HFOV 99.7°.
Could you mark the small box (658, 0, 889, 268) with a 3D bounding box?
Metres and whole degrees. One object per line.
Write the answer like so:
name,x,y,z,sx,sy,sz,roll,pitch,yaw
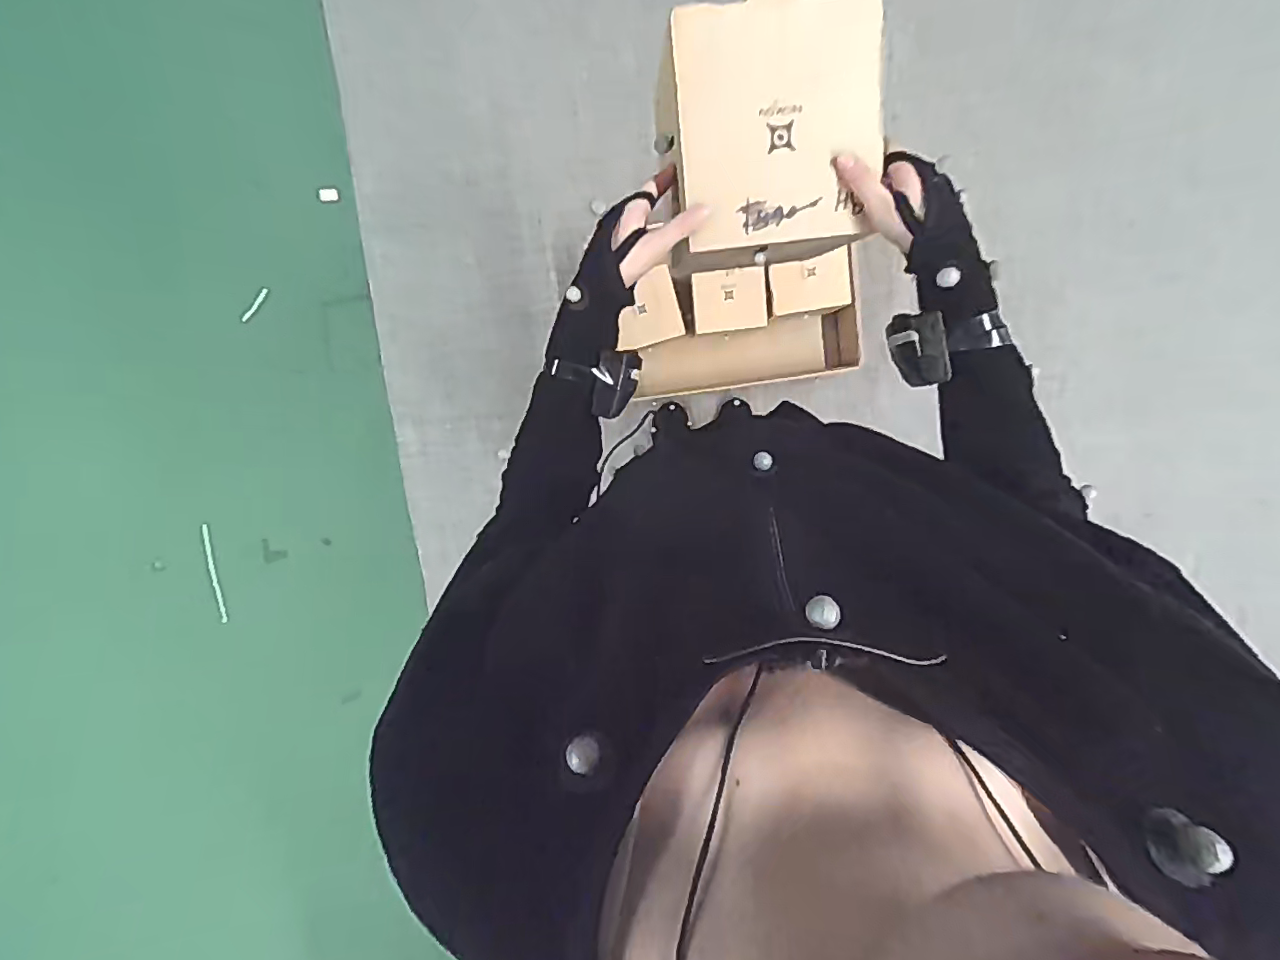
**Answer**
small box,0.109,-0.307,0.502,0.168,0.176,0.179,-6,105,-1
